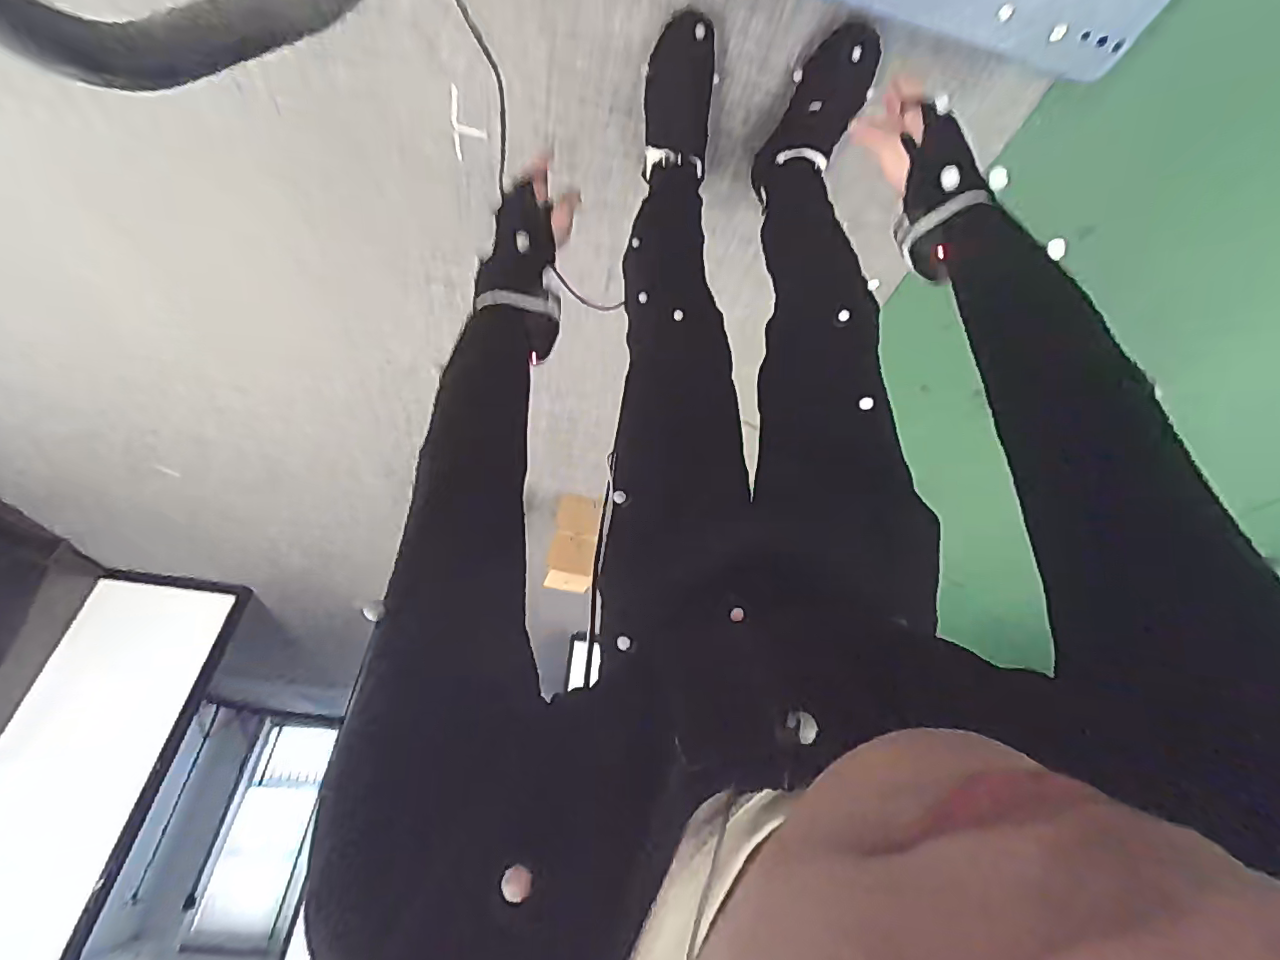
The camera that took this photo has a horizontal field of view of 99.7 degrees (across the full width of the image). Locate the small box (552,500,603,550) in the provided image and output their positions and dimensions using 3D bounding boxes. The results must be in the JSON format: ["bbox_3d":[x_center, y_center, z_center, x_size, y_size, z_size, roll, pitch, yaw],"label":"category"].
[{"bbox_3d":[-0.253,0.202,2.210,0.168,0.176,0.179,14,146,-12],"label":"small box"}]

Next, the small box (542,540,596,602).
[{"bbox_3d":[-0.276,0.358,2.123,0.168,0.176,0.179,14,145,-12],"label":"small box"}]
